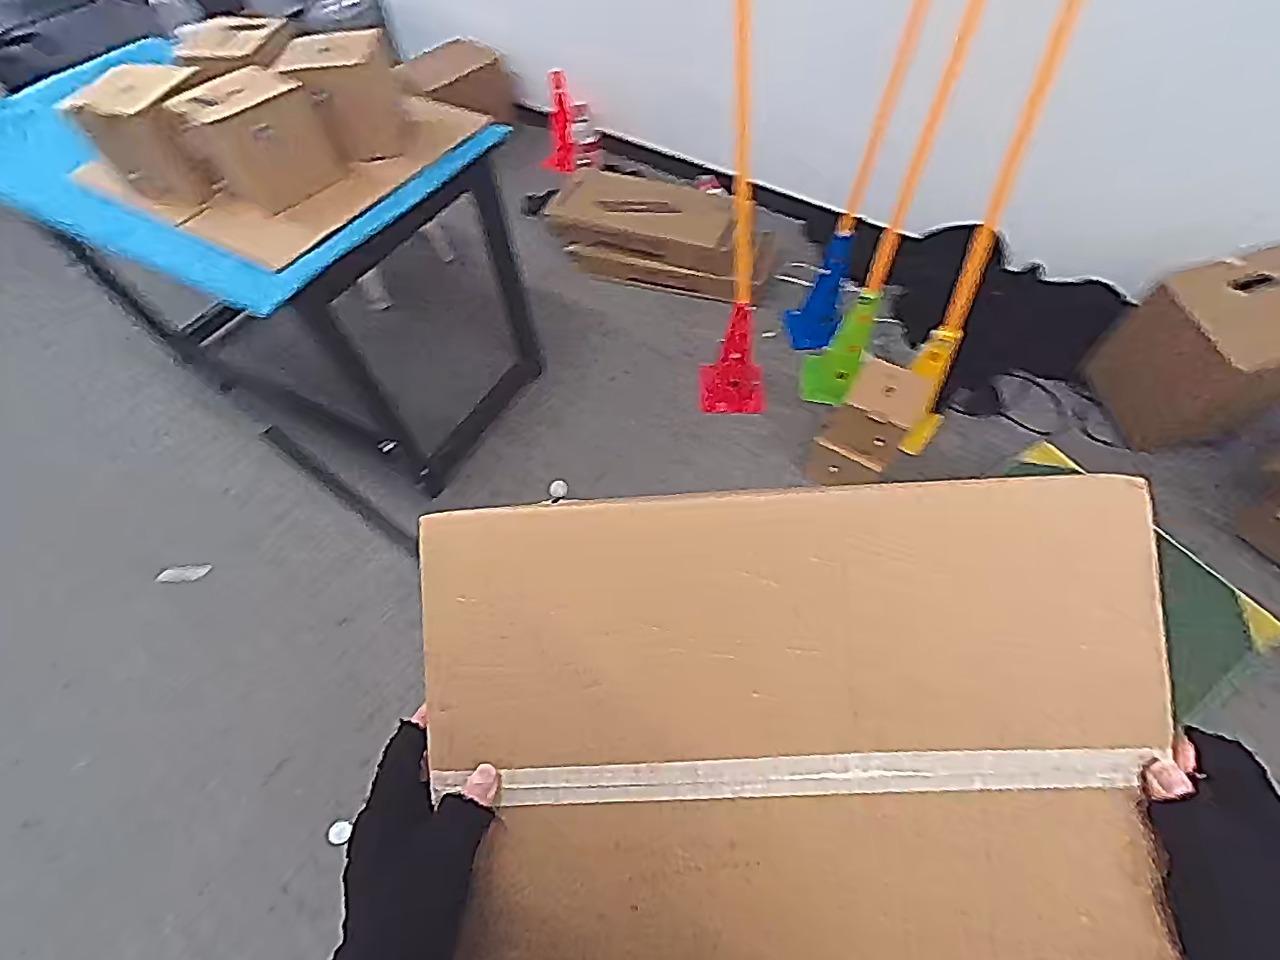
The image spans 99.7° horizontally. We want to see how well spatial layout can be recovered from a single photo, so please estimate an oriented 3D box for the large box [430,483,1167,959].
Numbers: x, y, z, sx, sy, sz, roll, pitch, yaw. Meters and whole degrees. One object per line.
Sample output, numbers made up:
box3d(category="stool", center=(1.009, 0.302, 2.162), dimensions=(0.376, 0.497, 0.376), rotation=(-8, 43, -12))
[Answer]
box3d(category="large box", center=(0.089, 0.178, 0.459), dimensions=(0.408, 0.320, 0.320), rotation=(-5, 88, 3))
